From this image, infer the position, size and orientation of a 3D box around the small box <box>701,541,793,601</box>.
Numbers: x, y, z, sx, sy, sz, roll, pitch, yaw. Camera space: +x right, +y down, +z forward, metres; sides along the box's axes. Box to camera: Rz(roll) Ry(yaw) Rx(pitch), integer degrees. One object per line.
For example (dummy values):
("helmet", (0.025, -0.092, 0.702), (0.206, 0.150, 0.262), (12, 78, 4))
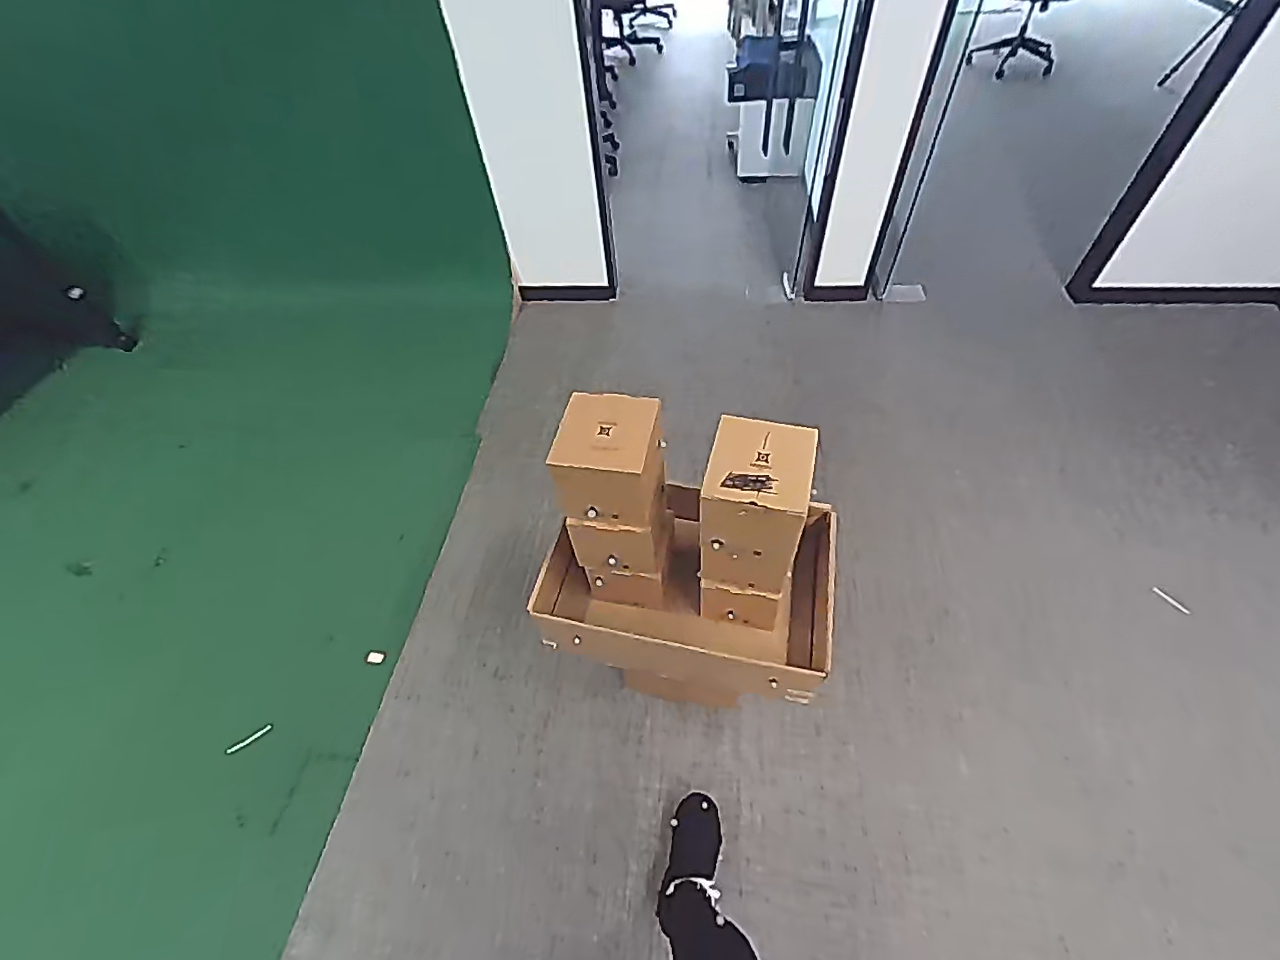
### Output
("small box", (0.215, 0.113, 1.070), (0.168, 0.176, 0.179), (10, 55, 12))

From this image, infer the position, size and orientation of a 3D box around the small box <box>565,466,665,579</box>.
("small box", (-0.042, 0.078, 1.108), (0.168, 0.176, 0.179), (6, 54, 9))

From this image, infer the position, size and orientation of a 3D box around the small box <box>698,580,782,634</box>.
("small box", (0.223, 0.217, 1.196), (0.168, 0.176, 0.179), (9, 56, 10))

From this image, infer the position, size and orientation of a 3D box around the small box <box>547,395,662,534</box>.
("small box", (-0.054, -0.027, 0.984), (0.168, 0.176, 0.179), (7, 54, 10))

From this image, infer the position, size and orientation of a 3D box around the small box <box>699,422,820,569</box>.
("small box", (0.200, 0.030, 0.926), (0.168, 0.176, 0.179), (12, 56, 12))
